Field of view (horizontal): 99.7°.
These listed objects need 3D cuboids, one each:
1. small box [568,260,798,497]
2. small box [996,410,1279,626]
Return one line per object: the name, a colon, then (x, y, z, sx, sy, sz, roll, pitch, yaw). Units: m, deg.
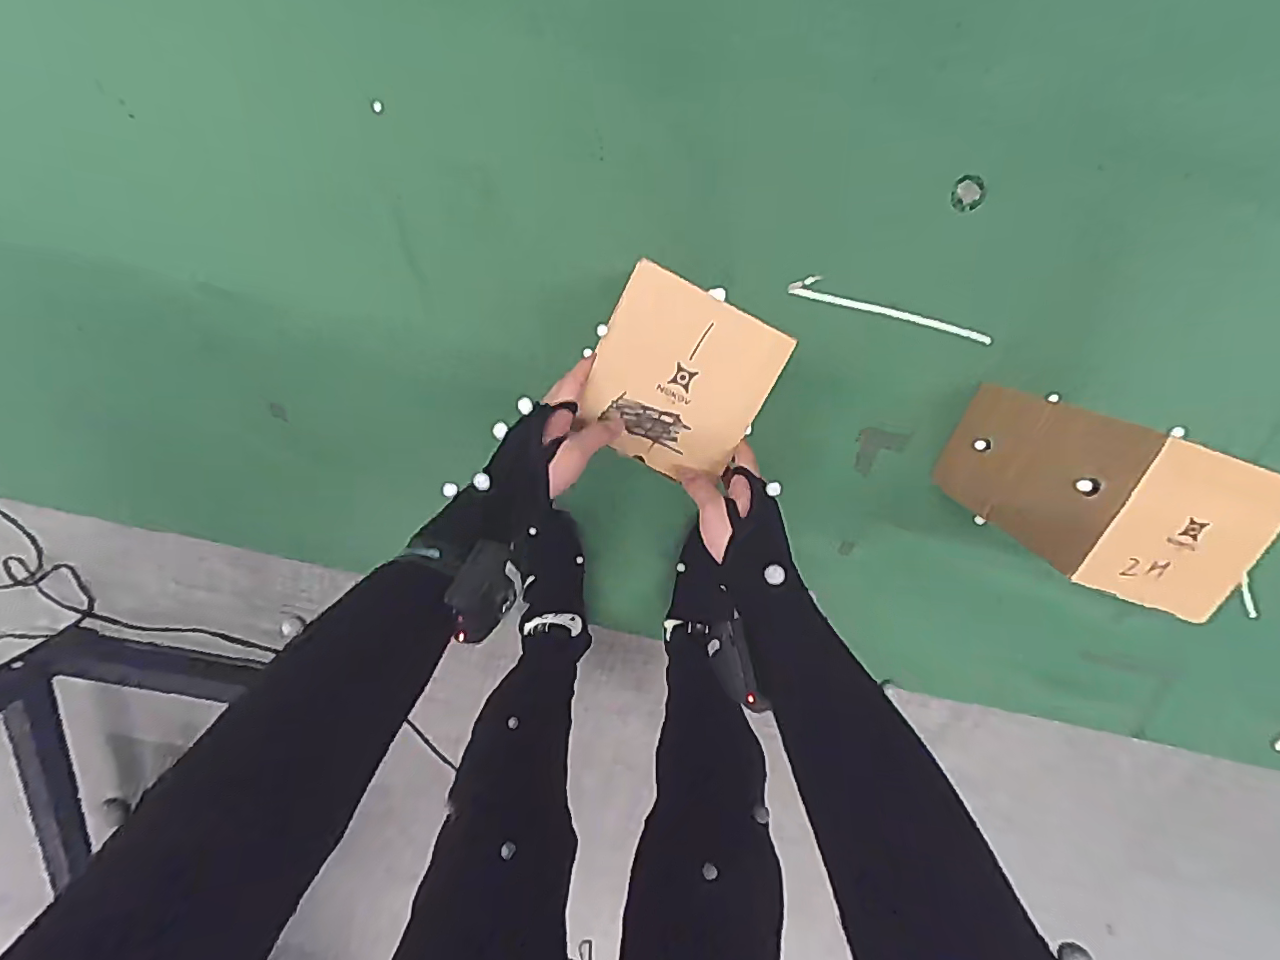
small box: (0.041, -0.113, 0.590, 0.168, 0.176, 0.179, 25, 106, -7)
small box: (0.571, 0.032, 0.635, 0.168, 0.176, 0.179, 19, 109, -4)
